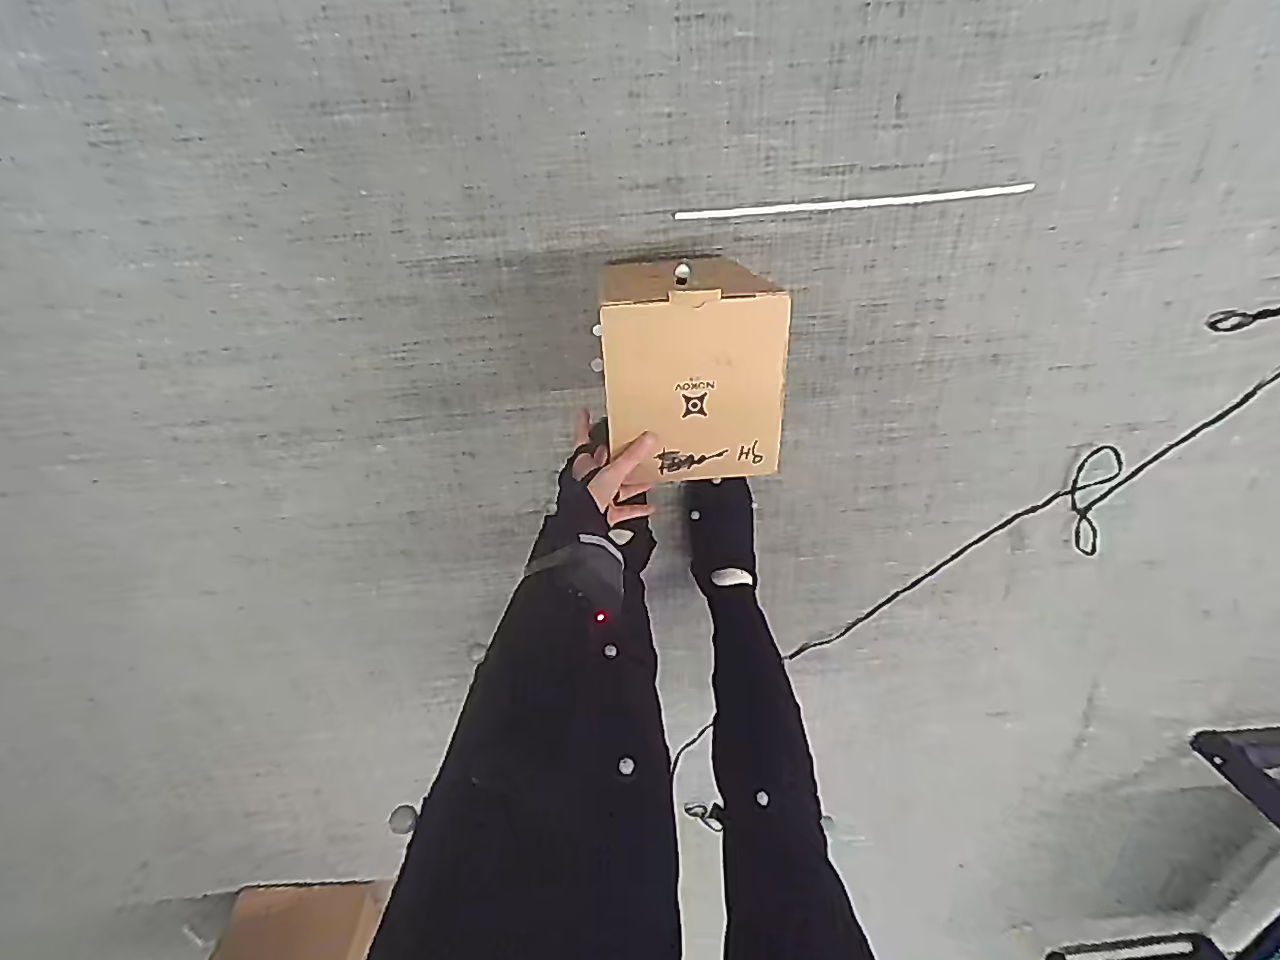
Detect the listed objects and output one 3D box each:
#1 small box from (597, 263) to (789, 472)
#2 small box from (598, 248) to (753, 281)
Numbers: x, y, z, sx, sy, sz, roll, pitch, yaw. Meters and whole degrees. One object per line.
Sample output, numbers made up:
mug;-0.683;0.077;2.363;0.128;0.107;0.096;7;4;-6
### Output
small box;0.043;-0.125;0.559;0.168;0.176;0.179;-4;117;-2
small box;0.039;-0.203;0.704;0.179;0.176;0.168;-5;118;-1
